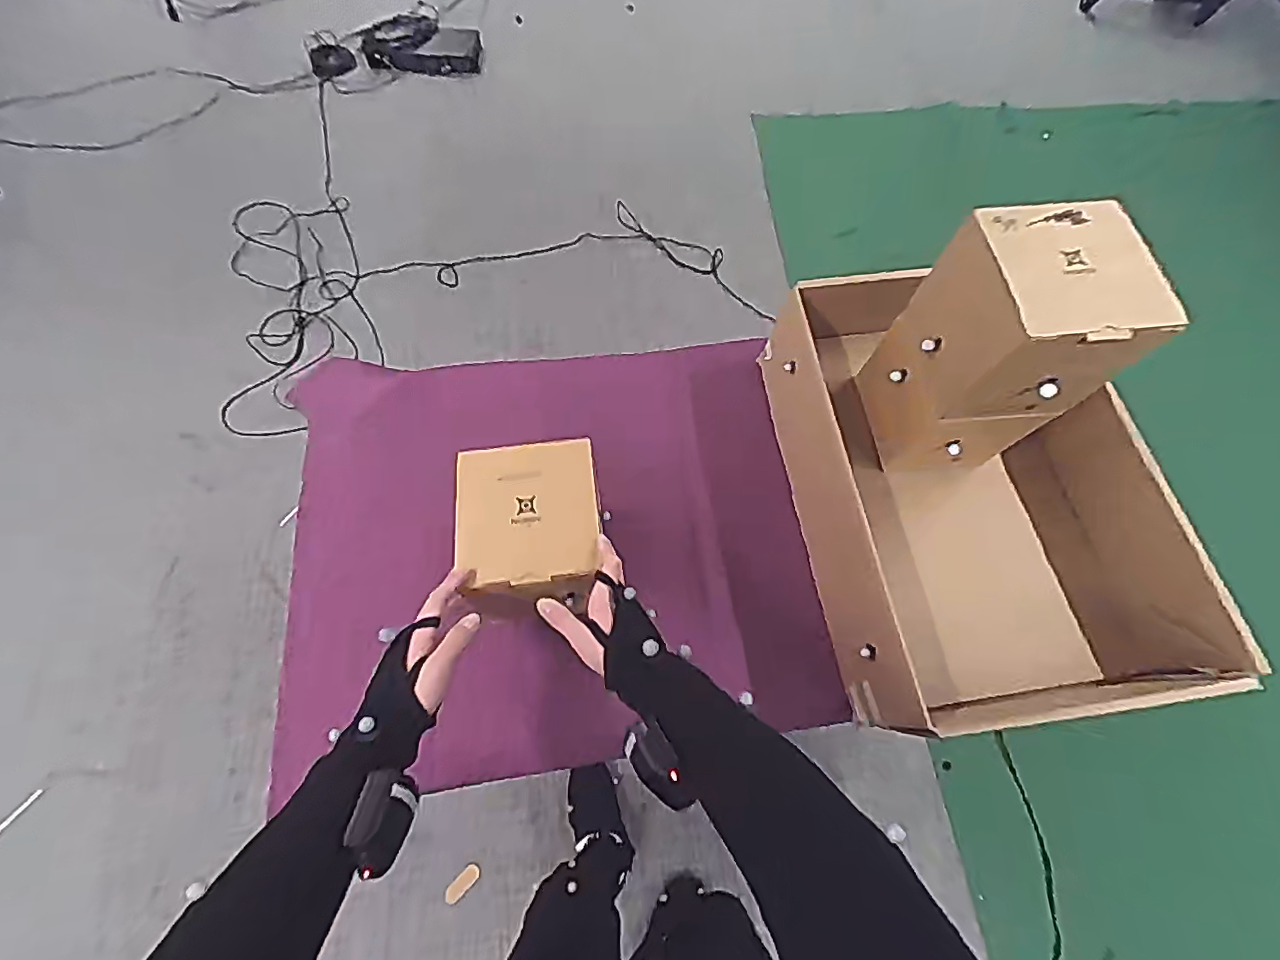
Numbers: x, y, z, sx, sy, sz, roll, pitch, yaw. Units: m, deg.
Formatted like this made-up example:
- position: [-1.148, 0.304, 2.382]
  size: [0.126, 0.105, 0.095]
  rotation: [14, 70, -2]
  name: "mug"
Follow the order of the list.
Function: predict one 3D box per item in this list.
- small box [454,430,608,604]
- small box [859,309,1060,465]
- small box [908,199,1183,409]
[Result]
- position: [-0.134, 0.058, 0.709]
  size: [0.168, 0.176, 0.179]
  rotation: [-6, 64, -2]
  name: "small box"
- position: [0.443, -0.130, 0.784]
  size: [0.168, 0.176, 0.179]
  rotation: [-5, 68, -2]
  name: "small box"
- position: [0.447, -0.192, 0.633]
  size: [0.168, 0.176, 0.179]
  rotation: [-4, 69, -2]
  name: "small box"
